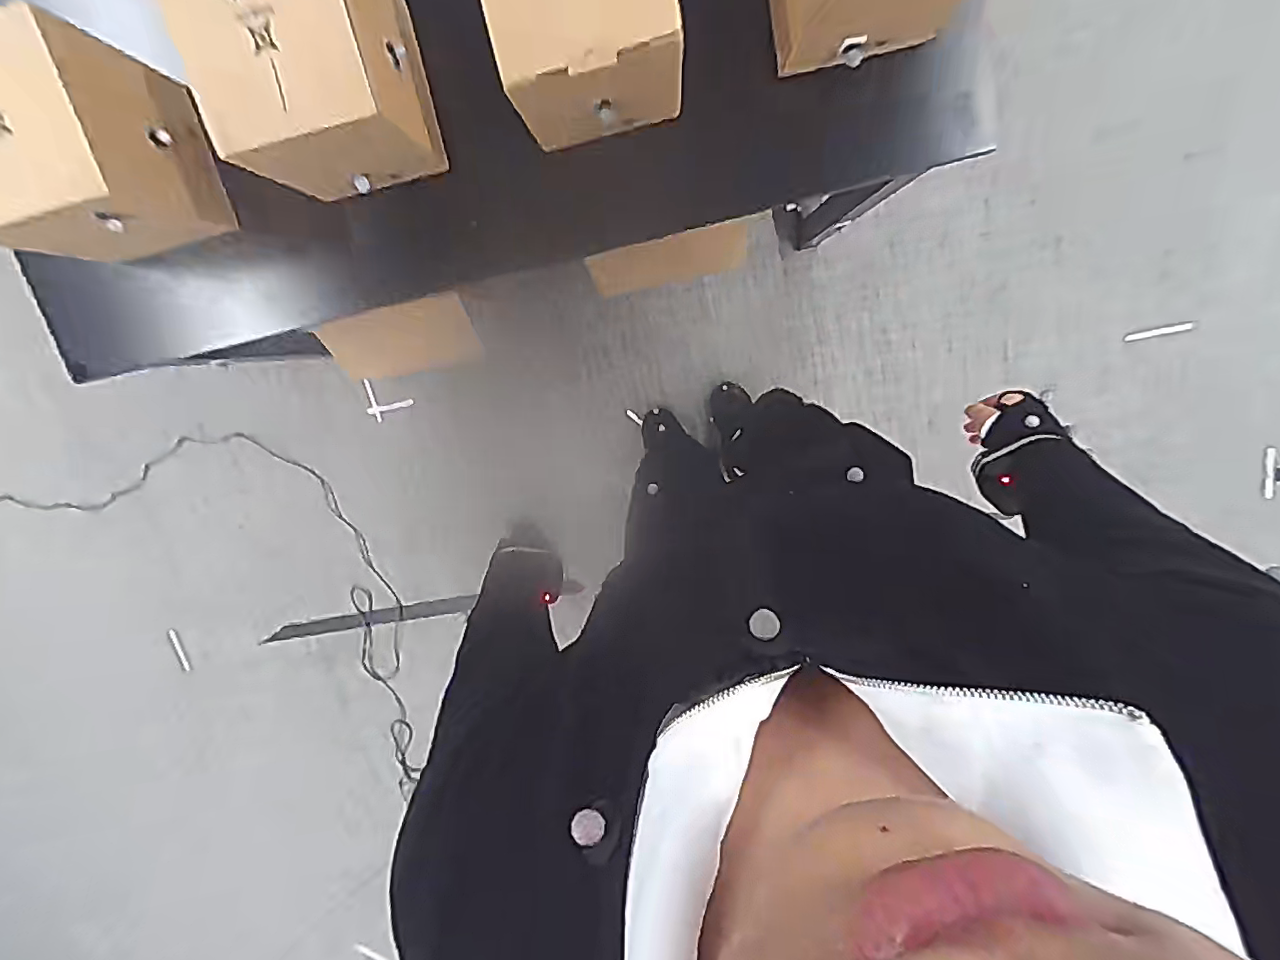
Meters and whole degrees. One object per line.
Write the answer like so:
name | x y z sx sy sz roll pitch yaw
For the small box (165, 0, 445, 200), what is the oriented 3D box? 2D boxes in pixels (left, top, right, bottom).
small box | -0.331 -0.420 0.562 0.168 0.176 0.179 -11 104 6

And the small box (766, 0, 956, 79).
small box | 0.210 -0.527 0.506 0.168 0.176 0.179 -11 103 7

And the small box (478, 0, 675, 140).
small box | -0.060 -0.466 0.536 0.168 0.176 0.179 -11 103 6

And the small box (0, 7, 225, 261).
small box | -0.606 -0.353 0.591 0.179 0.176 0.168 -13 102 6
